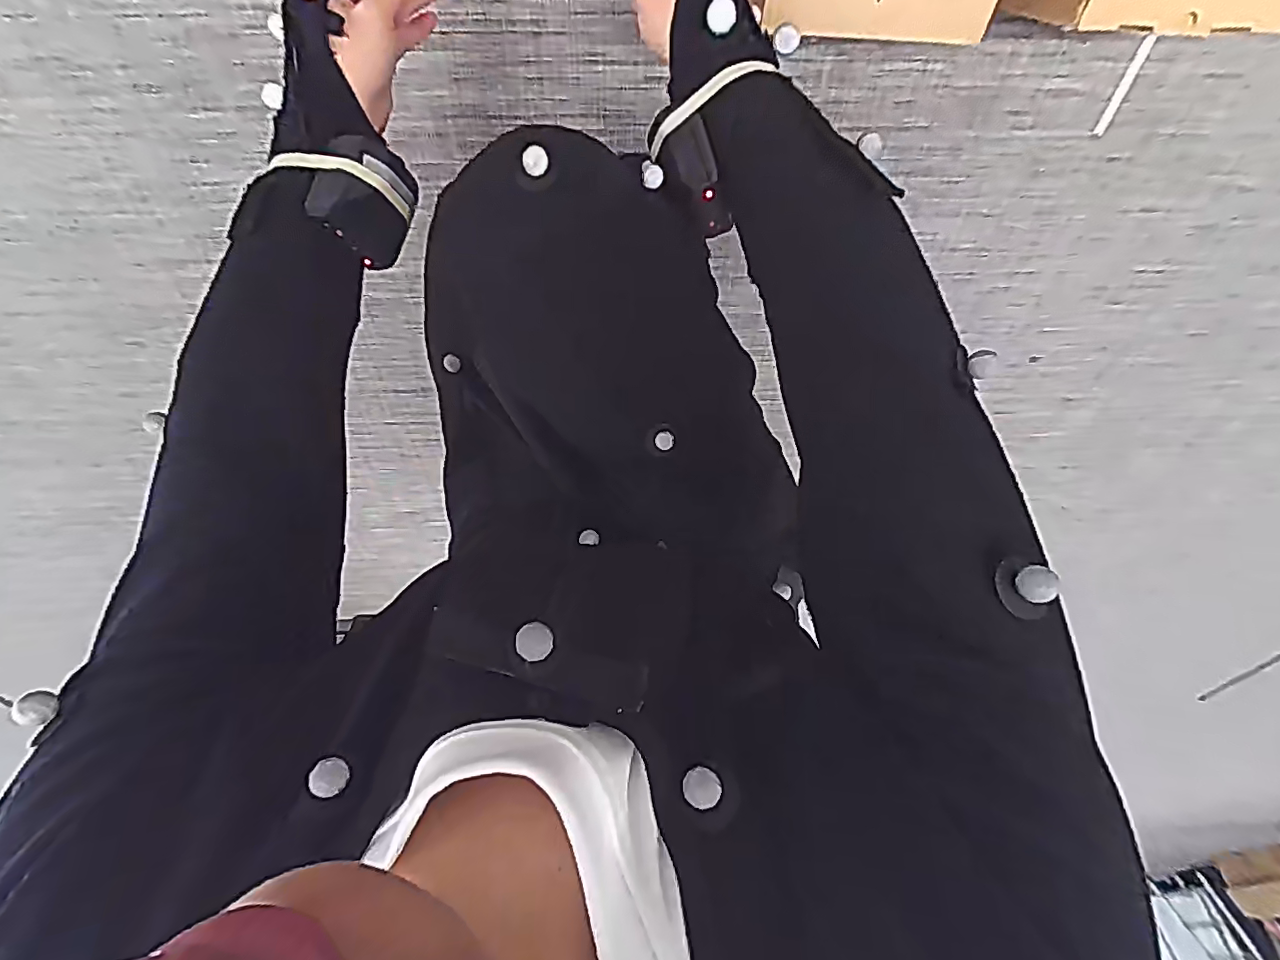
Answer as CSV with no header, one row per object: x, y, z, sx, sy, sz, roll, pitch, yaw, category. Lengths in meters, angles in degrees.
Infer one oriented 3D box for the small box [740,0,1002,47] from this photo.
0.168,-0.431,0.377,0.168,0.176,0.179,0,137,-4,small box

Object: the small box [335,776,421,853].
-0.816,1.052,1.705,0.179,0.176,0.168,-5,136,-1,small box

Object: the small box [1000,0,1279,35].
0.395,-0.443,0.385,0.168,0.176,0.179,-1,137,-3,small box
